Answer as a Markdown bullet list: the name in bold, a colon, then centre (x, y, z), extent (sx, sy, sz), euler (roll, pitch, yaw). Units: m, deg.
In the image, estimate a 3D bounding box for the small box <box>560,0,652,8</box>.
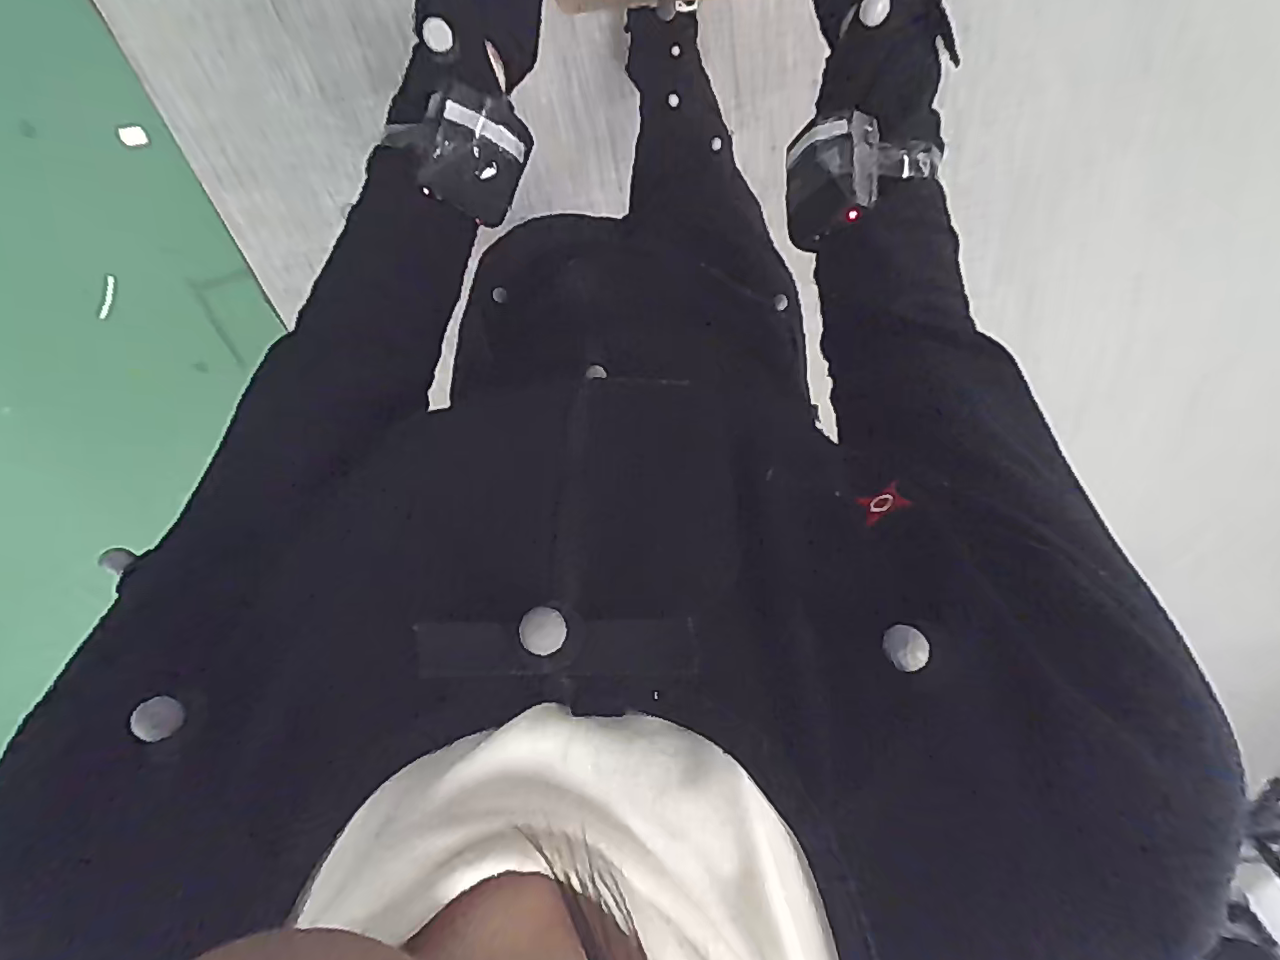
- **small box**: centre (0.013, -0.443, 0.355), extent (0.179, 0.176, 0.168), euler (-8, 120, -1)
